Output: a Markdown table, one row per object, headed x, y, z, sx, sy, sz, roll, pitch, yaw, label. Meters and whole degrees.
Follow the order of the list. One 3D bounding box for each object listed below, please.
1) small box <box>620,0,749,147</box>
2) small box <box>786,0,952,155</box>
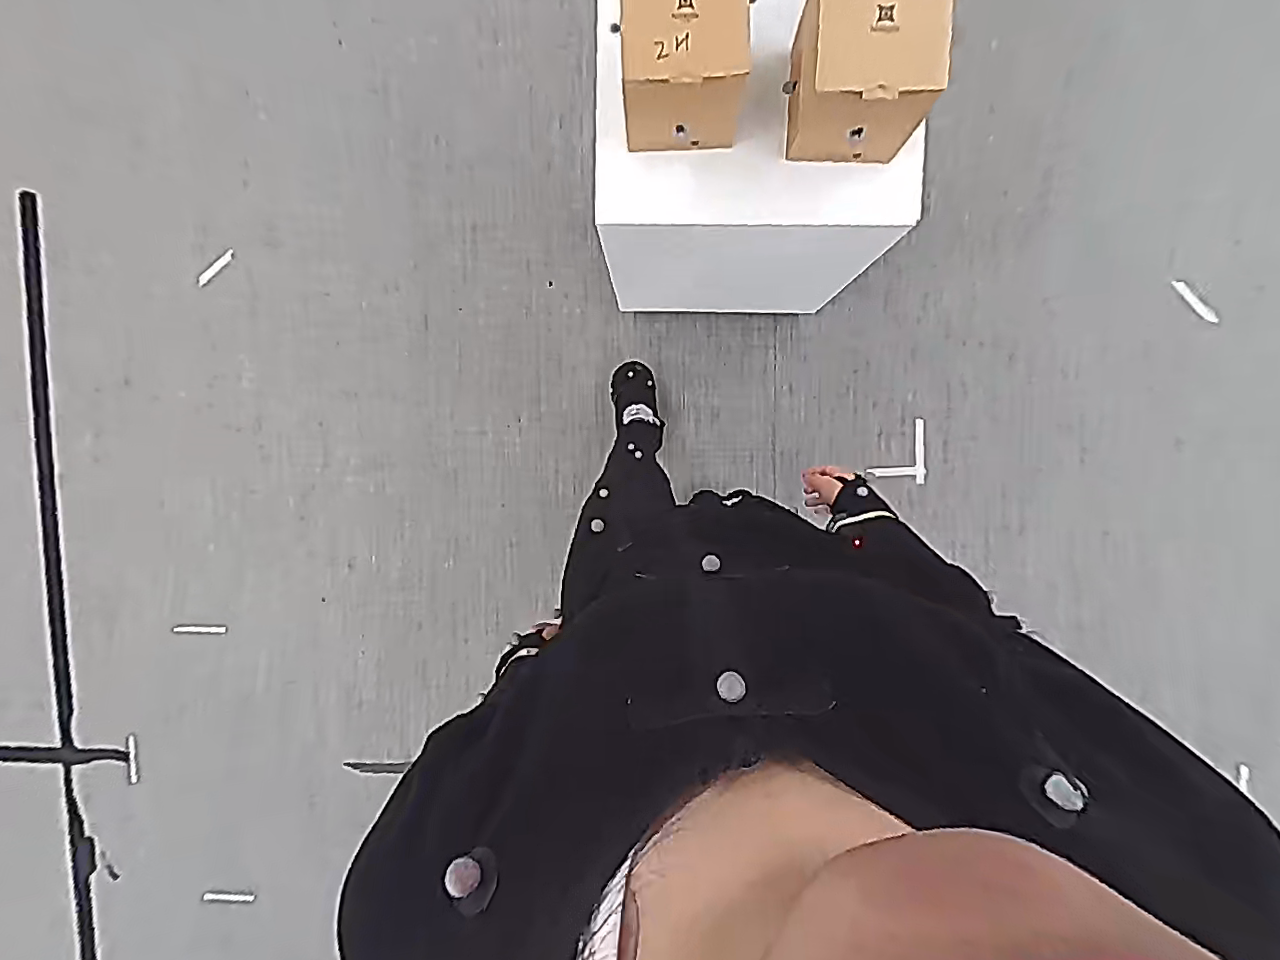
| x | y | z | sx | sy | sz | roll | pitch | yaw | label |
| --- | --- | --- | --- | --- | --- | --- | --- | --- | --- |
| 0.057 | -0.604 | 0.759 | 0.168 | 0.176 | 0.179 | -1 | 94 | 2 | small box |
| 0.306 | -0.581 | 0.753 | 0.168 | 0.176 | 0.179 | 2 | 95 | 2 | small box |
